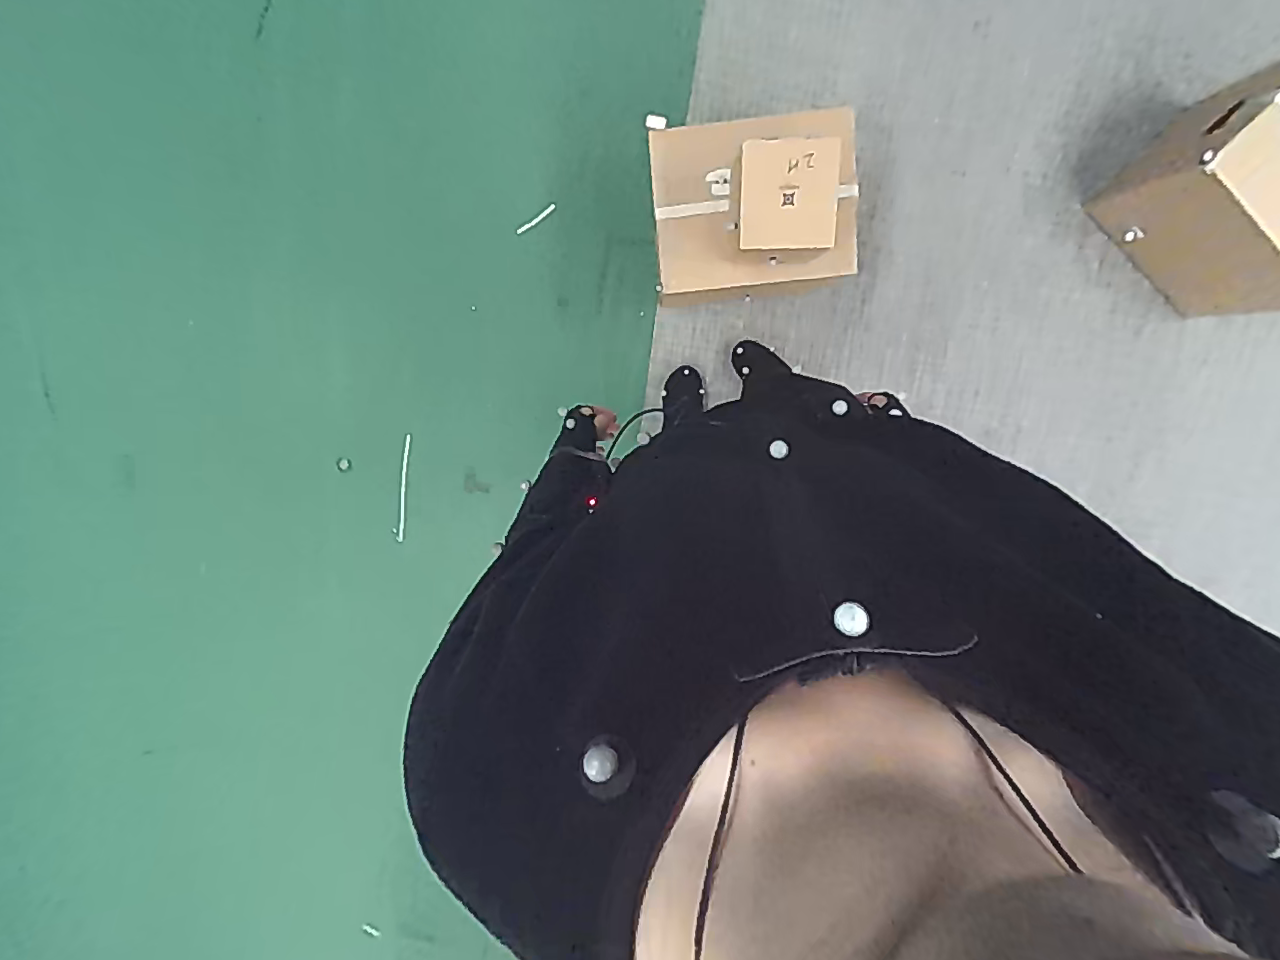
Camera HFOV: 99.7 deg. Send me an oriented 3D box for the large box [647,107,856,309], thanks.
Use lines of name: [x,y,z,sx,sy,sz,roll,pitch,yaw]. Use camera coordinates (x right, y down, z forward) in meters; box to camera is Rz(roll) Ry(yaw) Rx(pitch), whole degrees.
large box: [0.236,-0.579,1.225,0.408,0.320,0.320,-5,101,4]

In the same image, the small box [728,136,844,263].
small box: [0.255,-0.500,0.988,0.168,0.176,0.179,0,102,1]
